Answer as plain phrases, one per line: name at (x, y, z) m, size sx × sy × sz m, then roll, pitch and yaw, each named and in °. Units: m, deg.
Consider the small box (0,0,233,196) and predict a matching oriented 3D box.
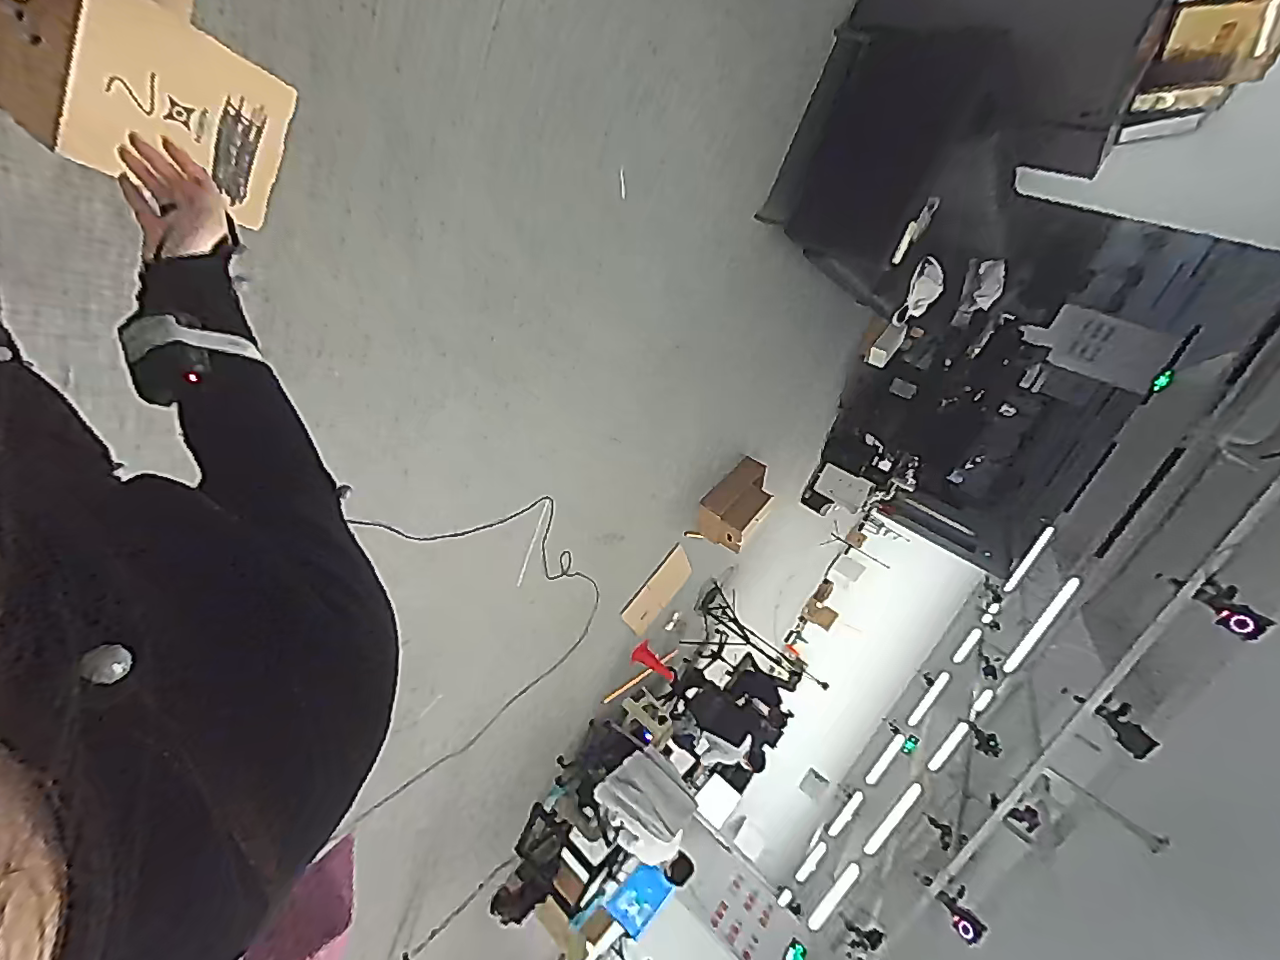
small box at (-0.646, -0.488, 0.665) m, size 0.168 × 0.176 × 0.179 m, roll 1°, pitch 115°, yaw -58°
